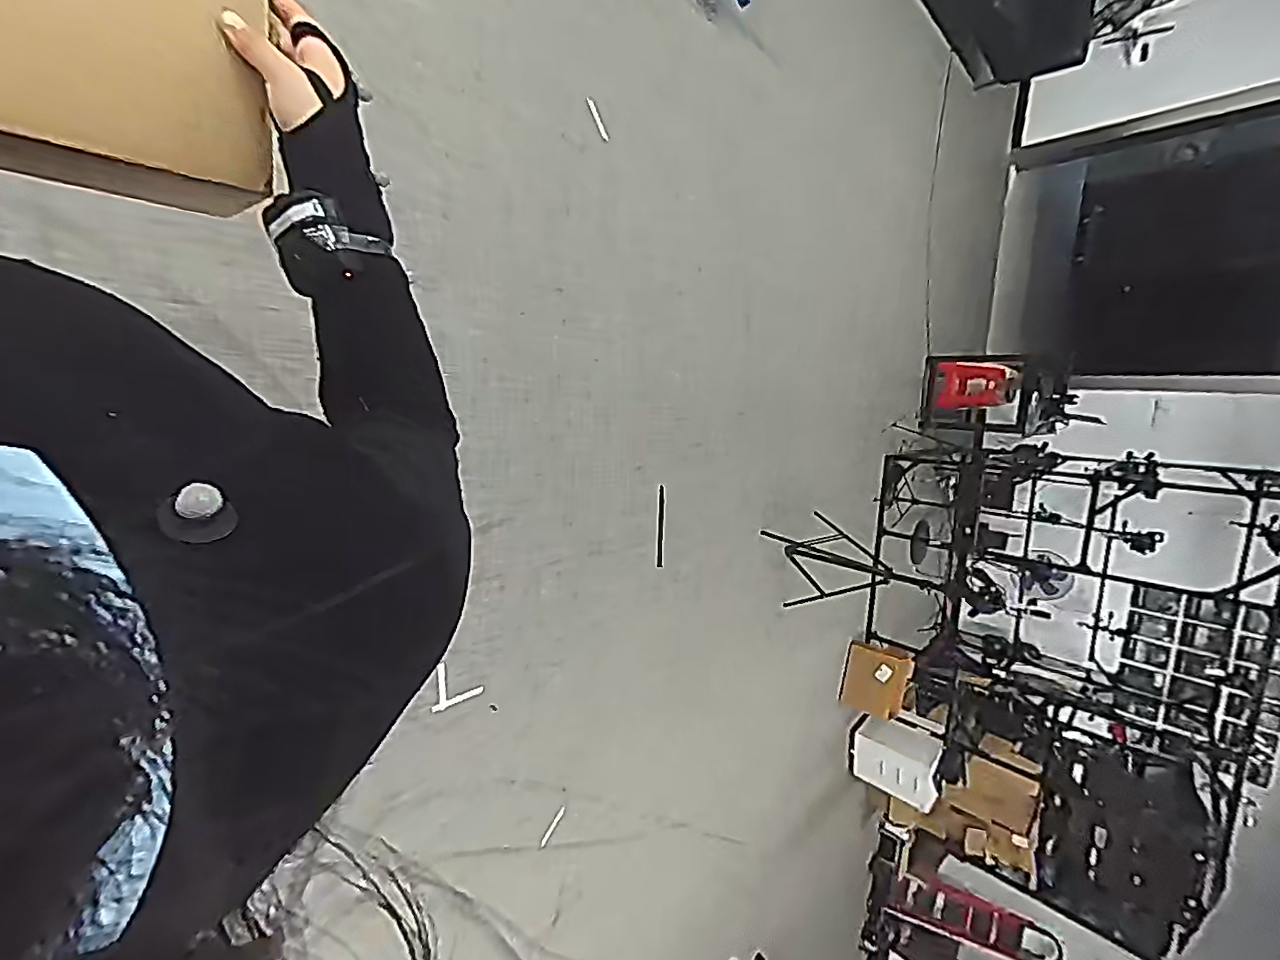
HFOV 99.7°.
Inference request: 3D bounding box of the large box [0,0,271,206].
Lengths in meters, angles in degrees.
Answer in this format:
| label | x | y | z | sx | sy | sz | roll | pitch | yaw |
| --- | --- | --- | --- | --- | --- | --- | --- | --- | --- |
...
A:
| label | x | y | z | sx | sy | sz | roll | pitch | yaw |
| --- | --- | --- | --- | --- | --- | --- | --- | --- | --- |
| large box | -0.532 | -0.416 | 0.386 | 0.408 | 0.320 | 0.320 | -5 | 109 | -42 |
